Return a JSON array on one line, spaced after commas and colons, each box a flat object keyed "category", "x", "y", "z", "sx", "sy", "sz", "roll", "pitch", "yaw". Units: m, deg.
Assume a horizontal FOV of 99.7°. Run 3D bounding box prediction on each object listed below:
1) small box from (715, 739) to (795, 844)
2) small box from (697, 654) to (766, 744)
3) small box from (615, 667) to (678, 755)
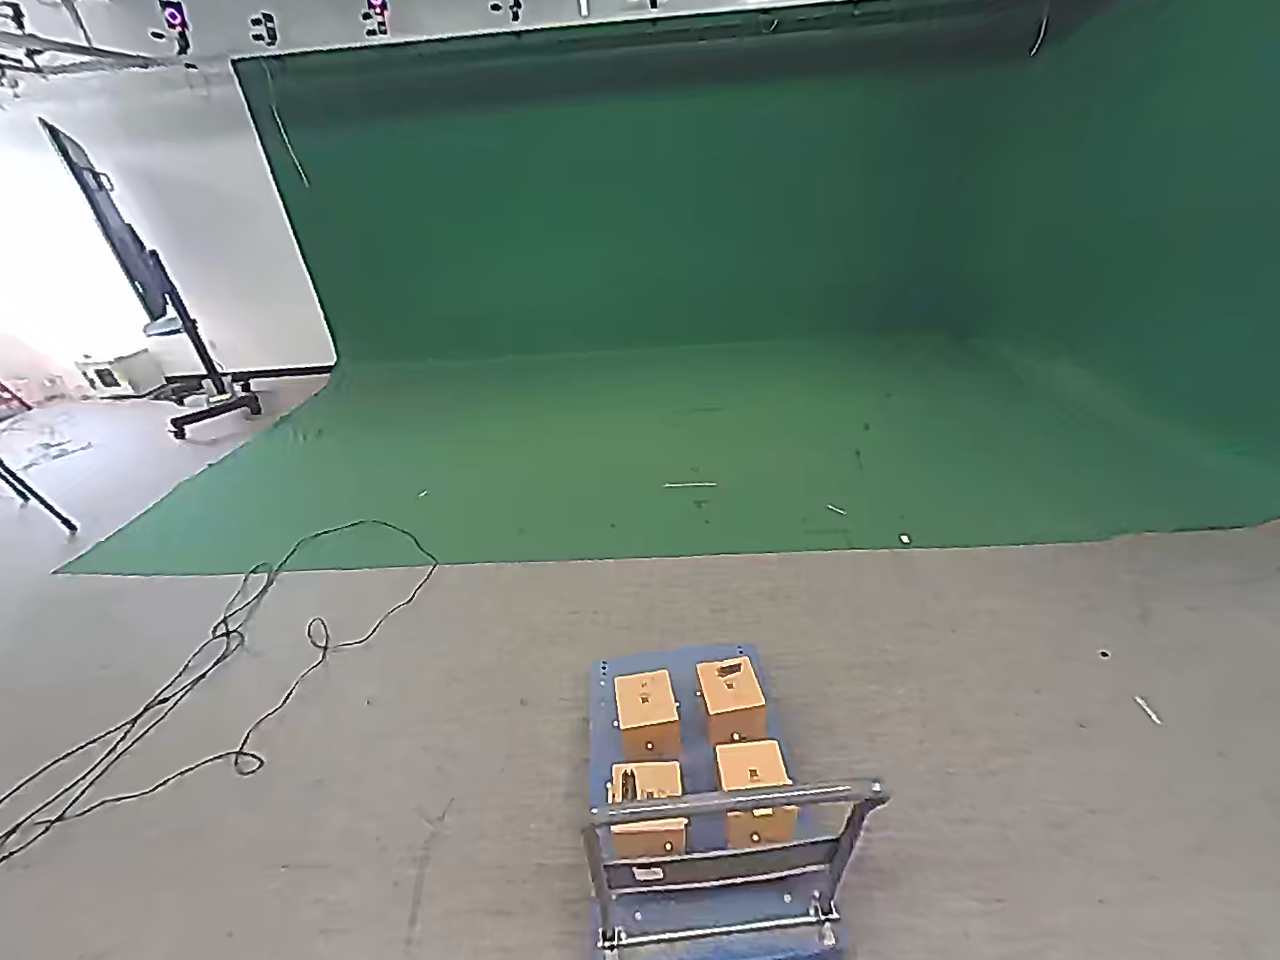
[{"category": "small box", "x": 0.288, "y": 0.801, "z": 1.394, "sx": 0.168, "sy": 0.176, "sz": 0.179, "roll": -4, "pitch": 32, "yaw": -1}, {"category": "small box", "x": 0.267, "y": 0.657, "z": 1.622, "sx": 0.168, "sy": 0.176, "sz": 0.179, "roll": -8, "pitch": 33, "yaw": -4}, {"category": "small box", "x": 0.019, "y": 0.690, "z": 1.600, "sx": 0.168, "sy": 0.176, "sz": 0.179, "roll": -6, "pitch": 32, "yaw": -5}]
